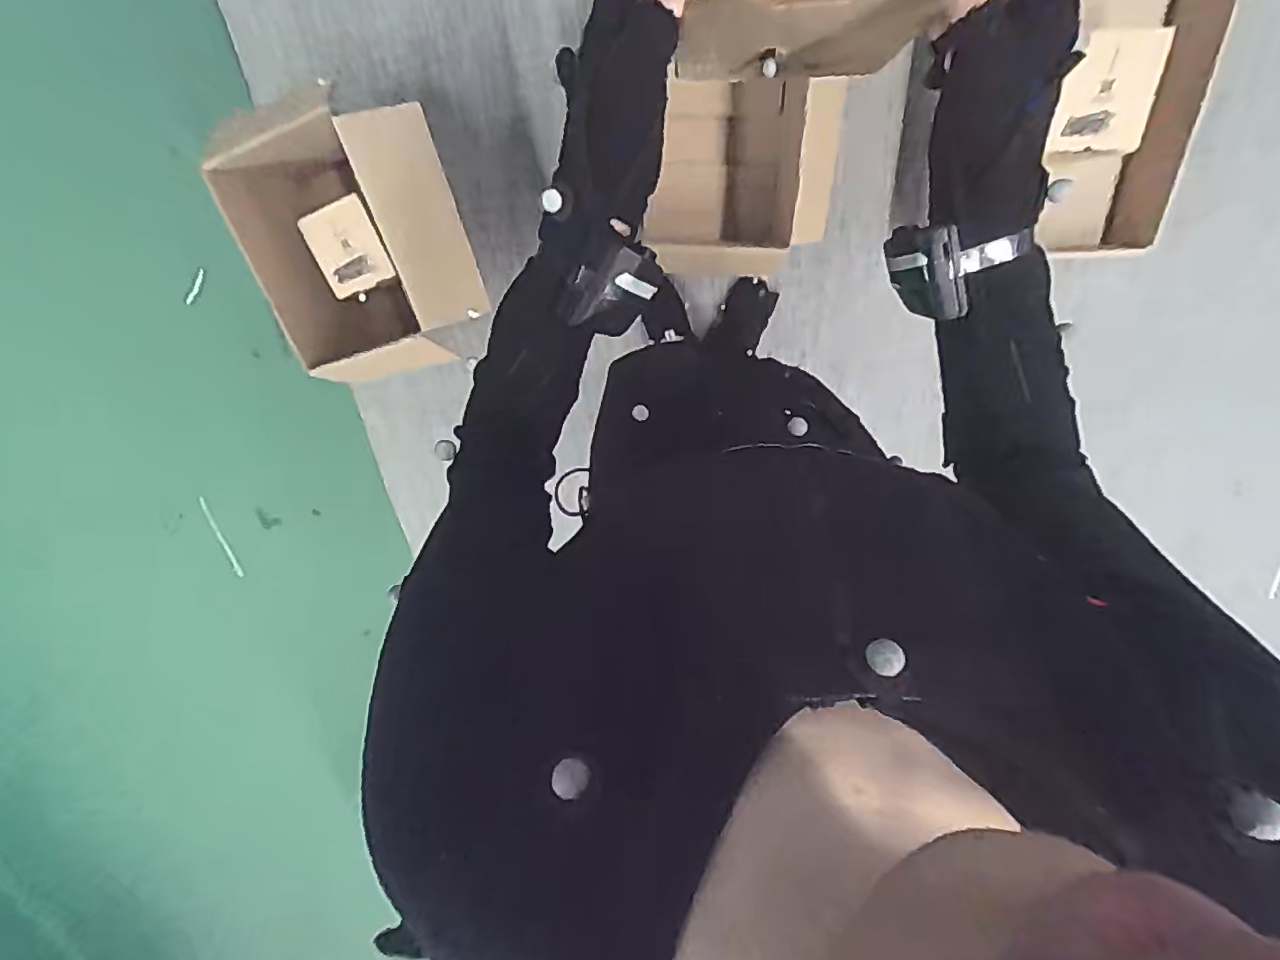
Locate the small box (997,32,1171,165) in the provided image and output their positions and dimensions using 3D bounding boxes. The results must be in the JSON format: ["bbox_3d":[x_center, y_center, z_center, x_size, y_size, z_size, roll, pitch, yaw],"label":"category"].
[{"bbox_3d":[0.798,-0.690,0.998,0.168,0.176,0.179,2,113,5],"label":"small box"}]

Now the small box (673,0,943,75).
[{"bbox_3d":[0.102,-0.378,0.326,0.168,0.176,0.179,1,113,7],"label":"small box"}]
